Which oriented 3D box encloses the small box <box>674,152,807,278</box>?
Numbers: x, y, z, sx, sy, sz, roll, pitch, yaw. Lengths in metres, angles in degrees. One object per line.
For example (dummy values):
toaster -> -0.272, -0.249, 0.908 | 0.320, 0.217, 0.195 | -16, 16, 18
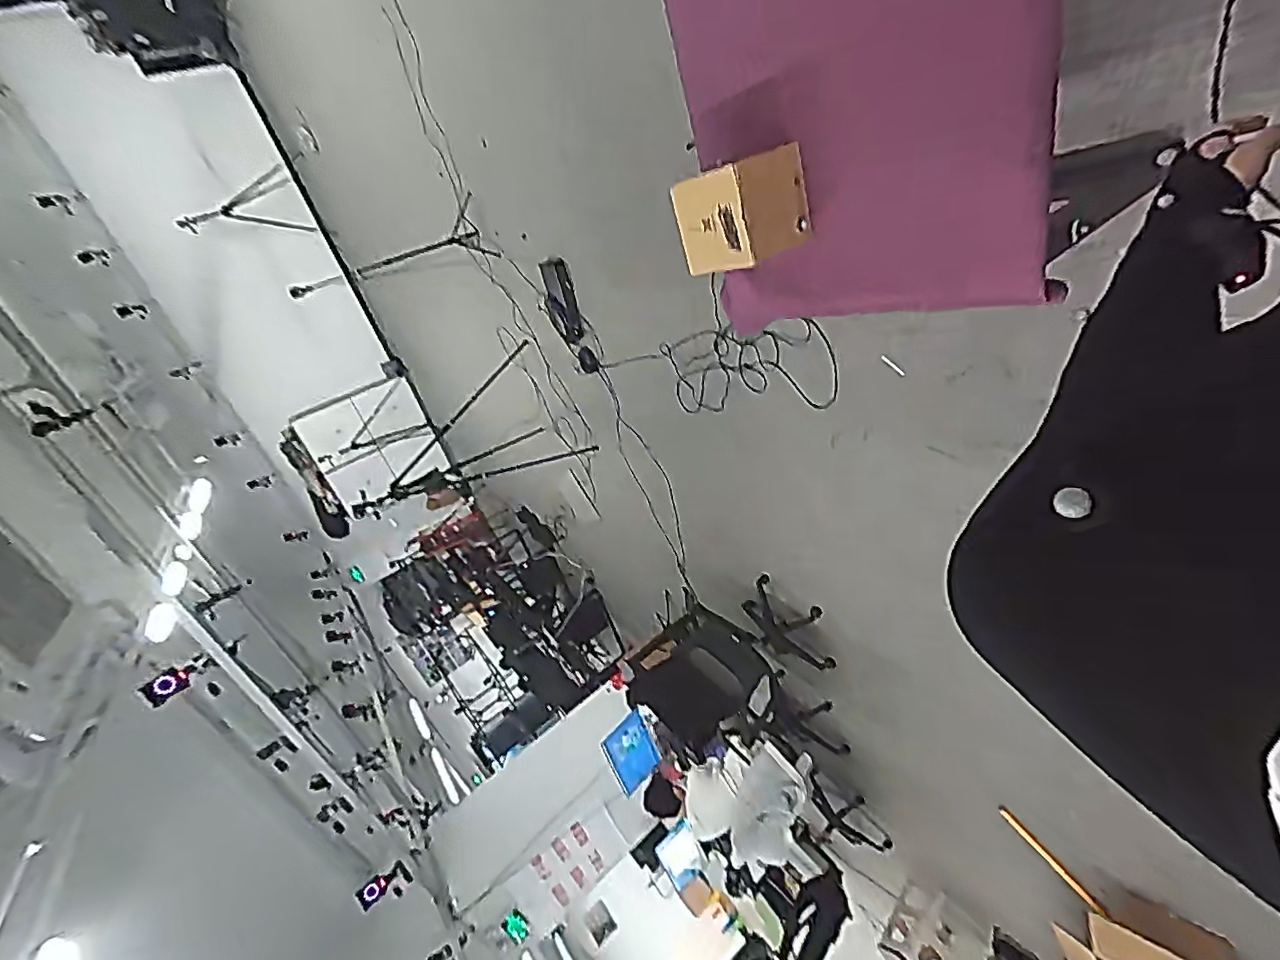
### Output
small box -> 0.198, -0.499, 1.027 | 0.179, 0.176, 0.168 | 21, 135, 53
